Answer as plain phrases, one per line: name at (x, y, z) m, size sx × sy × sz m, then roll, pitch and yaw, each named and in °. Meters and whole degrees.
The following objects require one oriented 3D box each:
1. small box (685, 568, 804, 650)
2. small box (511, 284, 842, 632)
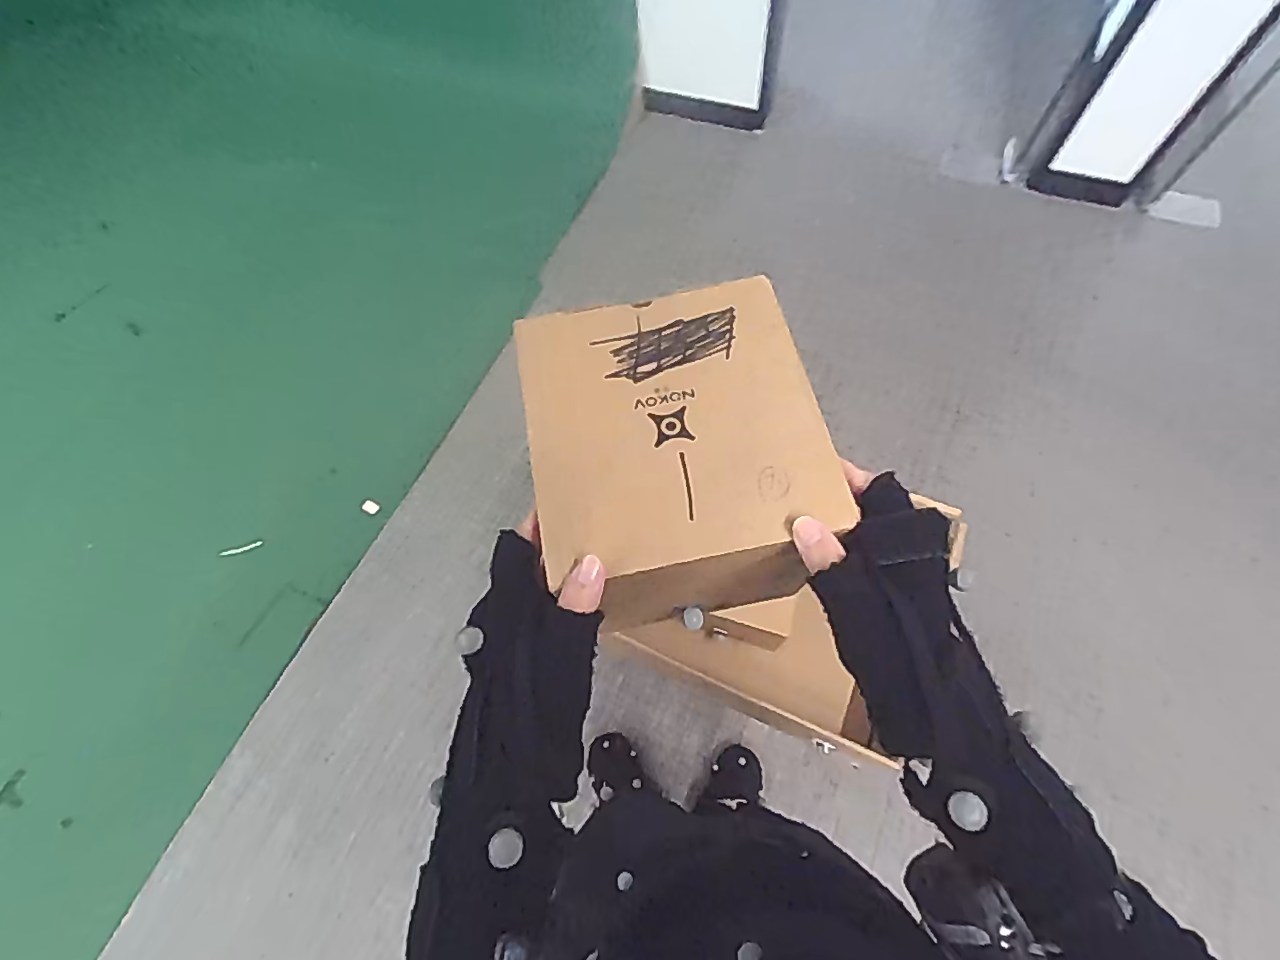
small box at (0.169, 0.164, 0.890) m, size 0.168 × 0.176 × 0.179 m, roll 15°, pitch 68°, yaw 13°
small box at (0.016, -0.004, 0.389) m, size 0.168 × 0.176 × 0.179 m, roll -12°, pitch 66°, yaw -1°
